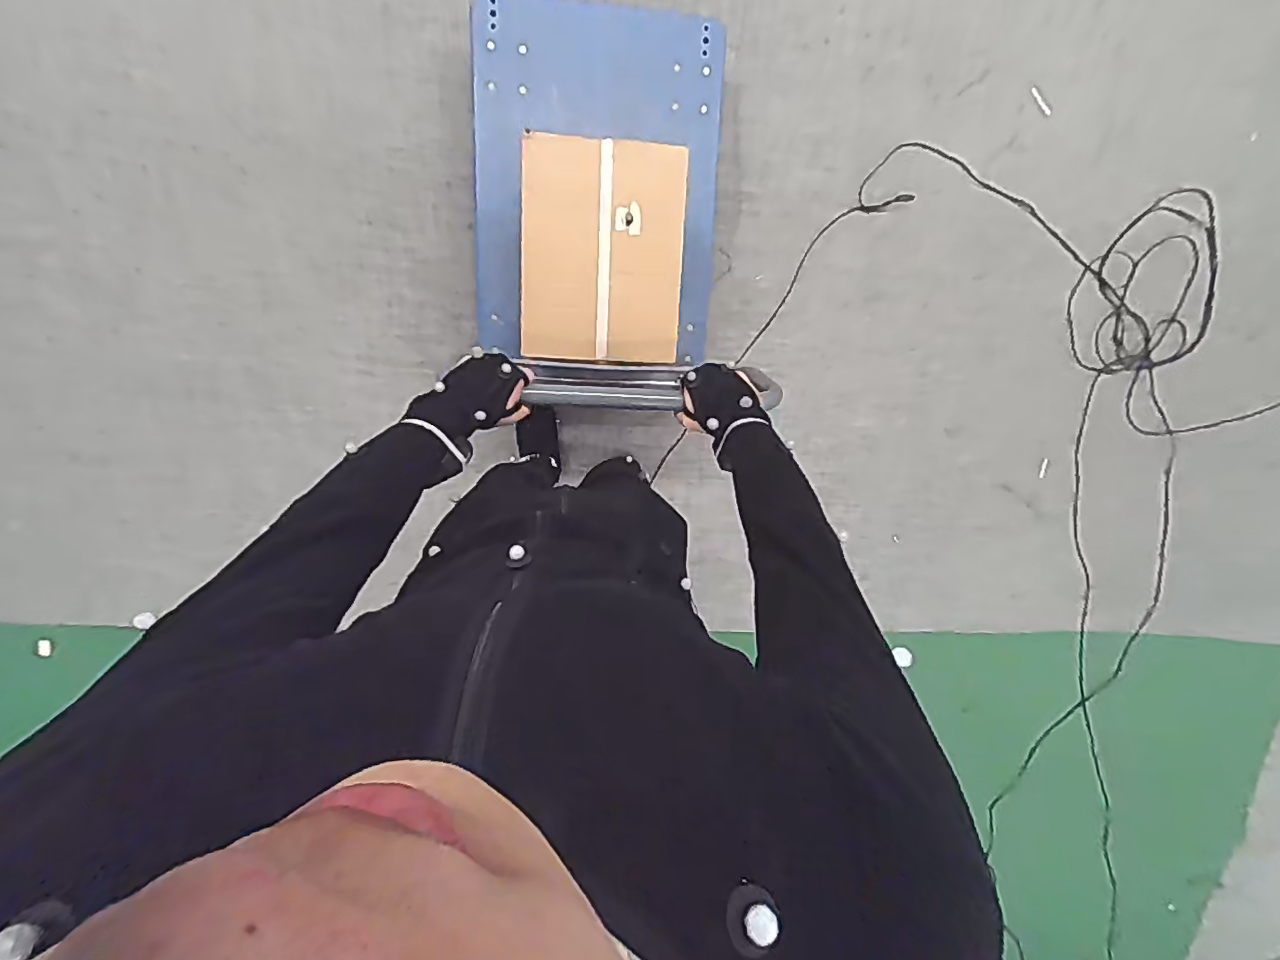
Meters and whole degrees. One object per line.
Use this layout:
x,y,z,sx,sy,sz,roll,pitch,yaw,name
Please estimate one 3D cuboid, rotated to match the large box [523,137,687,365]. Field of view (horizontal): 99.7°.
-0.084,-0.461,1.189,0.320,0.320,0.408,1,102,-8,large box
